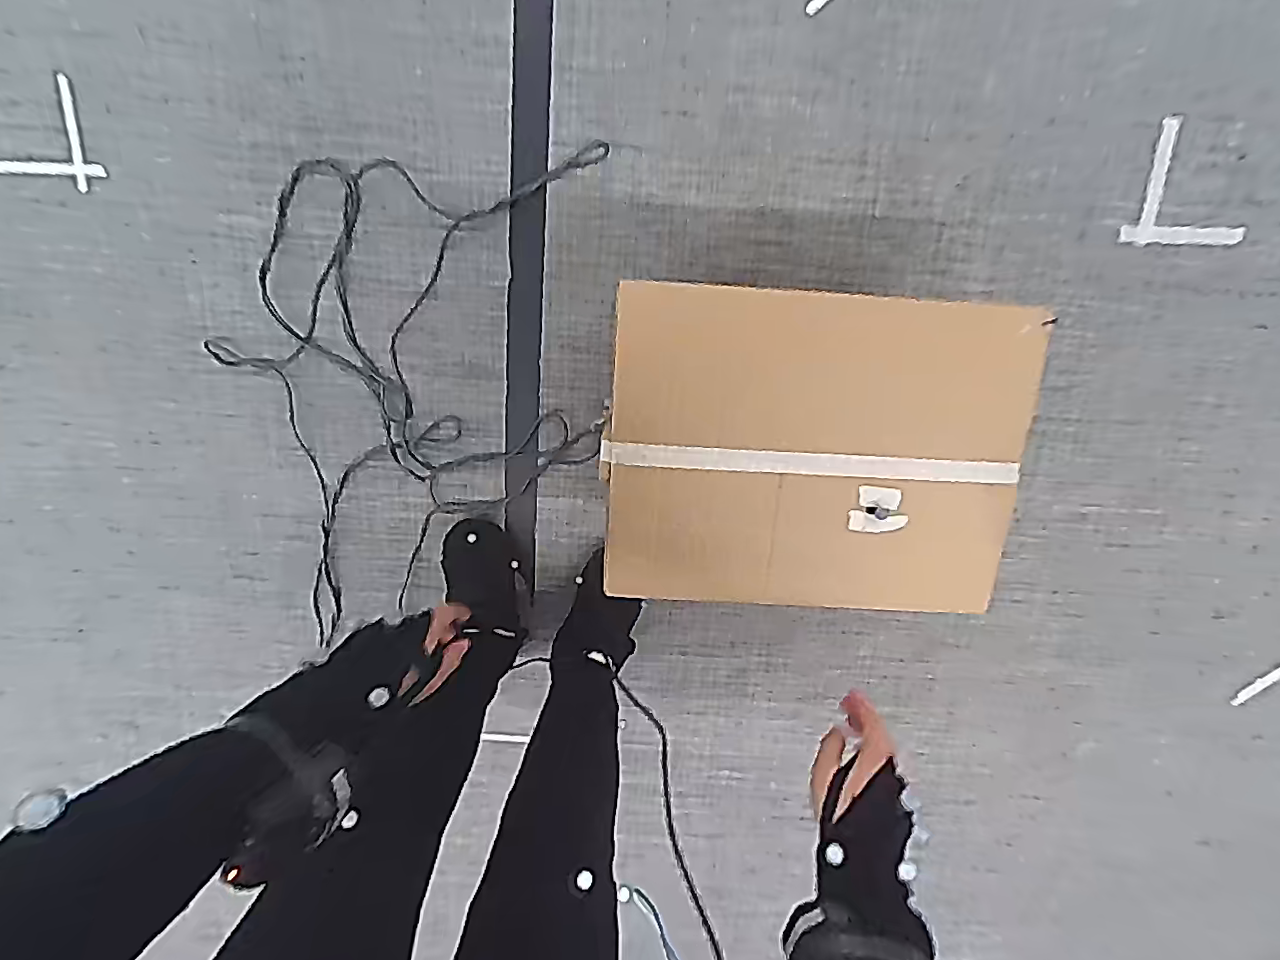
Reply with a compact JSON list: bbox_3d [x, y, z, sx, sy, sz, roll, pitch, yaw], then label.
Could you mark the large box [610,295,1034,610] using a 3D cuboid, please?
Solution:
[{"bbox_3d":[0.166,-0.048,0.684,0.408,0.320,0.320,3,104,-2],"label":"large box"}]
